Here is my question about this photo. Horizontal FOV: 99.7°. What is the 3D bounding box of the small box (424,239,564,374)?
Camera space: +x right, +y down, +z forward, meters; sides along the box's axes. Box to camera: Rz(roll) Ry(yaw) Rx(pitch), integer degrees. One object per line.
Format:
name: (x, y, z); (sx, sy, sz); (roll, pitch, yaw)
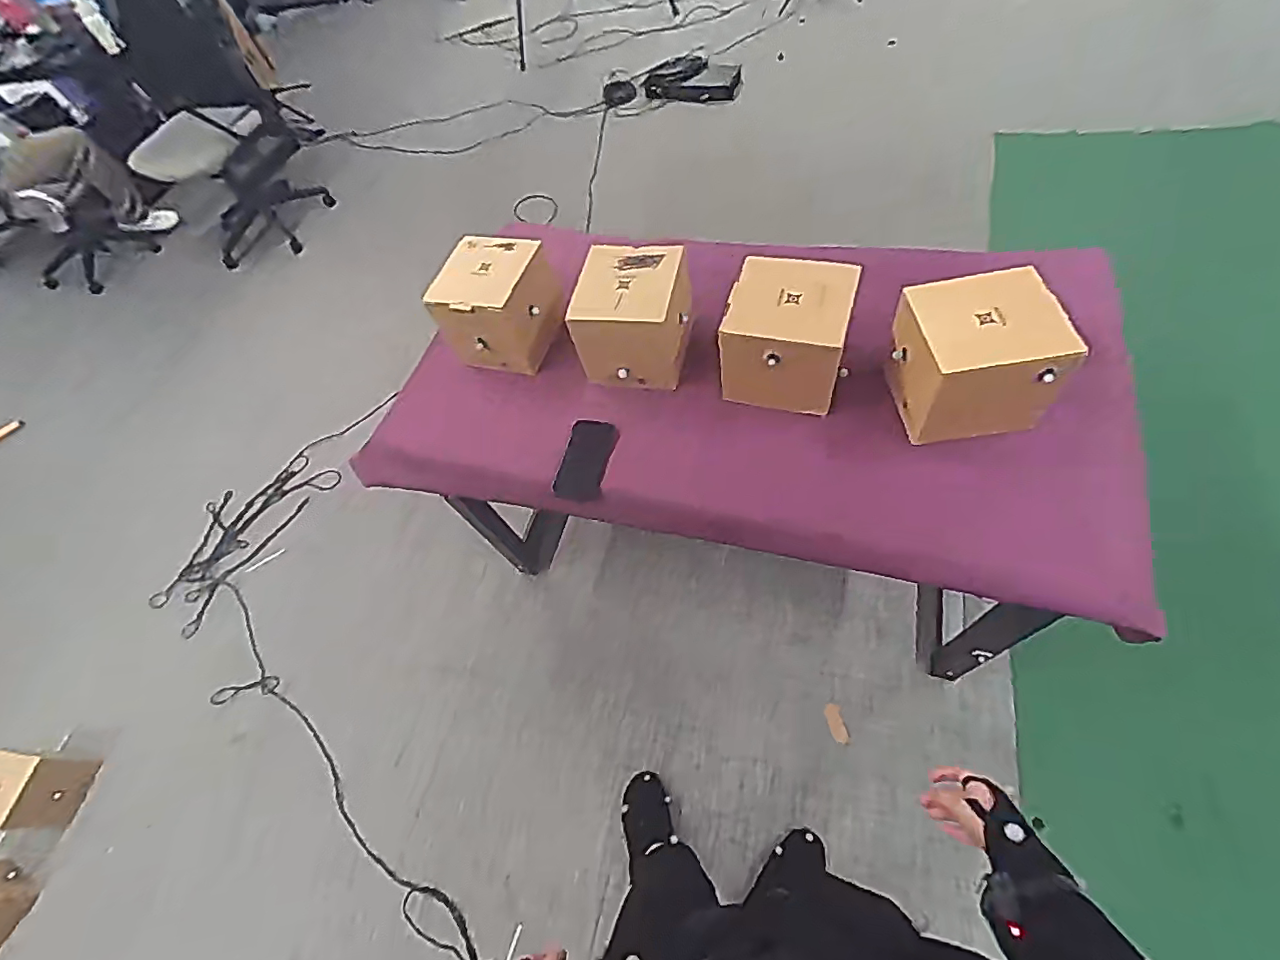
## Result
small box: (-0.262, -0.324, 1.022); (0.168, 0.176, 0.179); (11, 64, 17)

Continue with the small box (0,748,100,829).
small box: (-1.655, 0.836, 1.473); (0.179, 0.176, 0.168); (2, 61, 13)

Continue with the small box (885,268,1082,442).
small box: (0.472, -0.172, 0.784); (0.179, 0.176, 0.168); (-8, 58, 7)

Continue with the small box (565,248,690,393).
small box: (-0.010, -0.277, 0.944); (0.168, 0.176, 0.179); (7, 62, 15)

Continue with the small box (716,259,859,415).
small box: (0.232, -0.223, 0.865); (0.179, 0.176, 0.168); (14, 64, 18)
